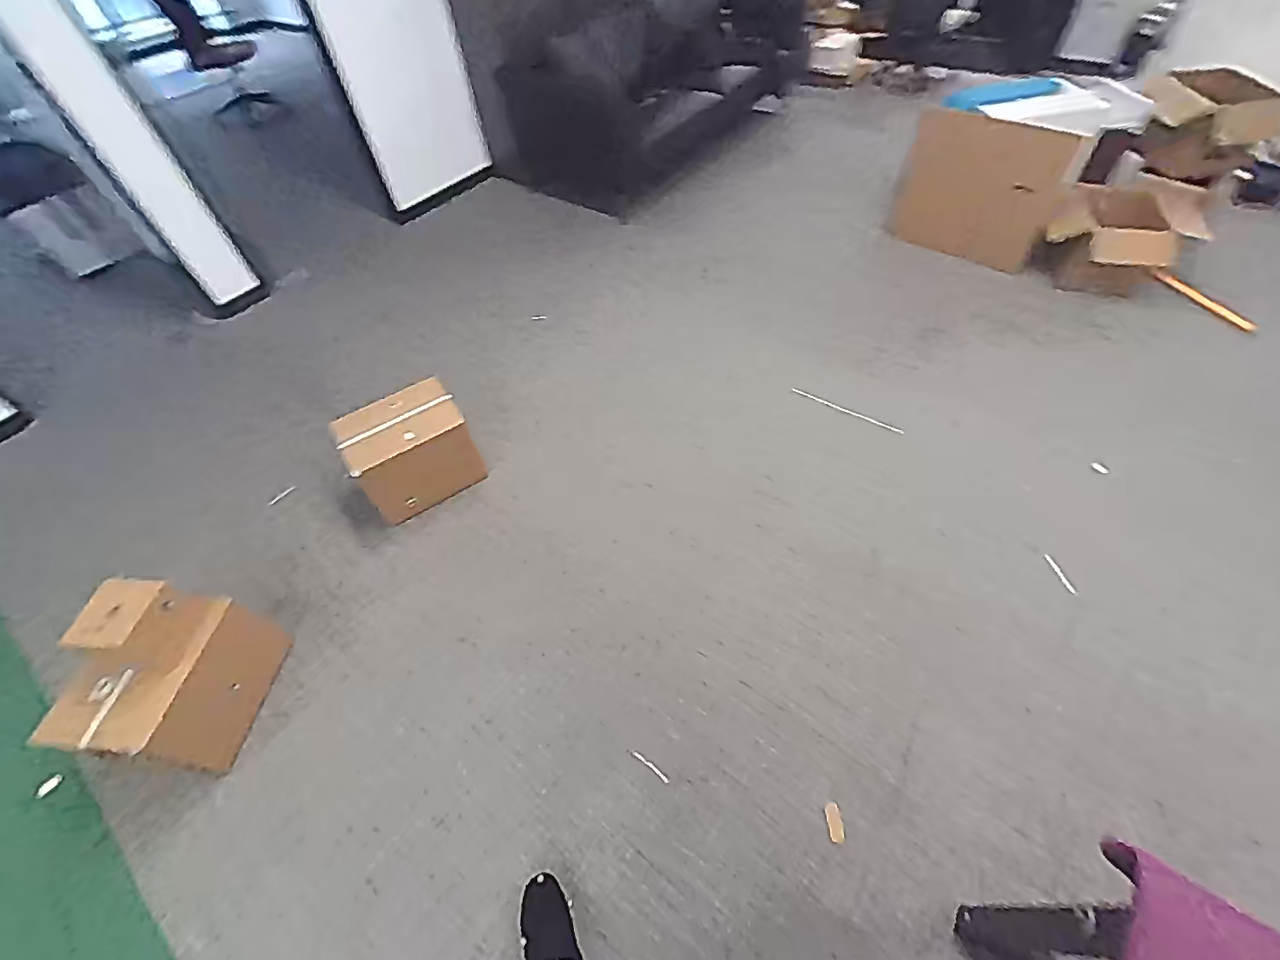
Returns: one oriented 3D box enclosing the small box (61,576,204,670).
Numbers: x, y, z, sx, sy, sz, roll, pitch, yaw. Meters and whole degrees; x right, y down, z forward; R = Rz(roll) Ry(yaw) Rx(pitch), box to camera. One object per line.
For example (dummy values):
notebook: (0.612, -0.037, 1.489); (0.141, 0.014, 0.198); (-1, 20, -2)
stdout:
small box: (-1.273, 0.365, 1.378); (0.168, 0.176, 0.179); (2, 52, 5)

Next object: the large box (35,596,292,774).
large box: (-1.294, 0.575, 1.530); (0.320, 0.320, 0.408); (1, 52, 7)
